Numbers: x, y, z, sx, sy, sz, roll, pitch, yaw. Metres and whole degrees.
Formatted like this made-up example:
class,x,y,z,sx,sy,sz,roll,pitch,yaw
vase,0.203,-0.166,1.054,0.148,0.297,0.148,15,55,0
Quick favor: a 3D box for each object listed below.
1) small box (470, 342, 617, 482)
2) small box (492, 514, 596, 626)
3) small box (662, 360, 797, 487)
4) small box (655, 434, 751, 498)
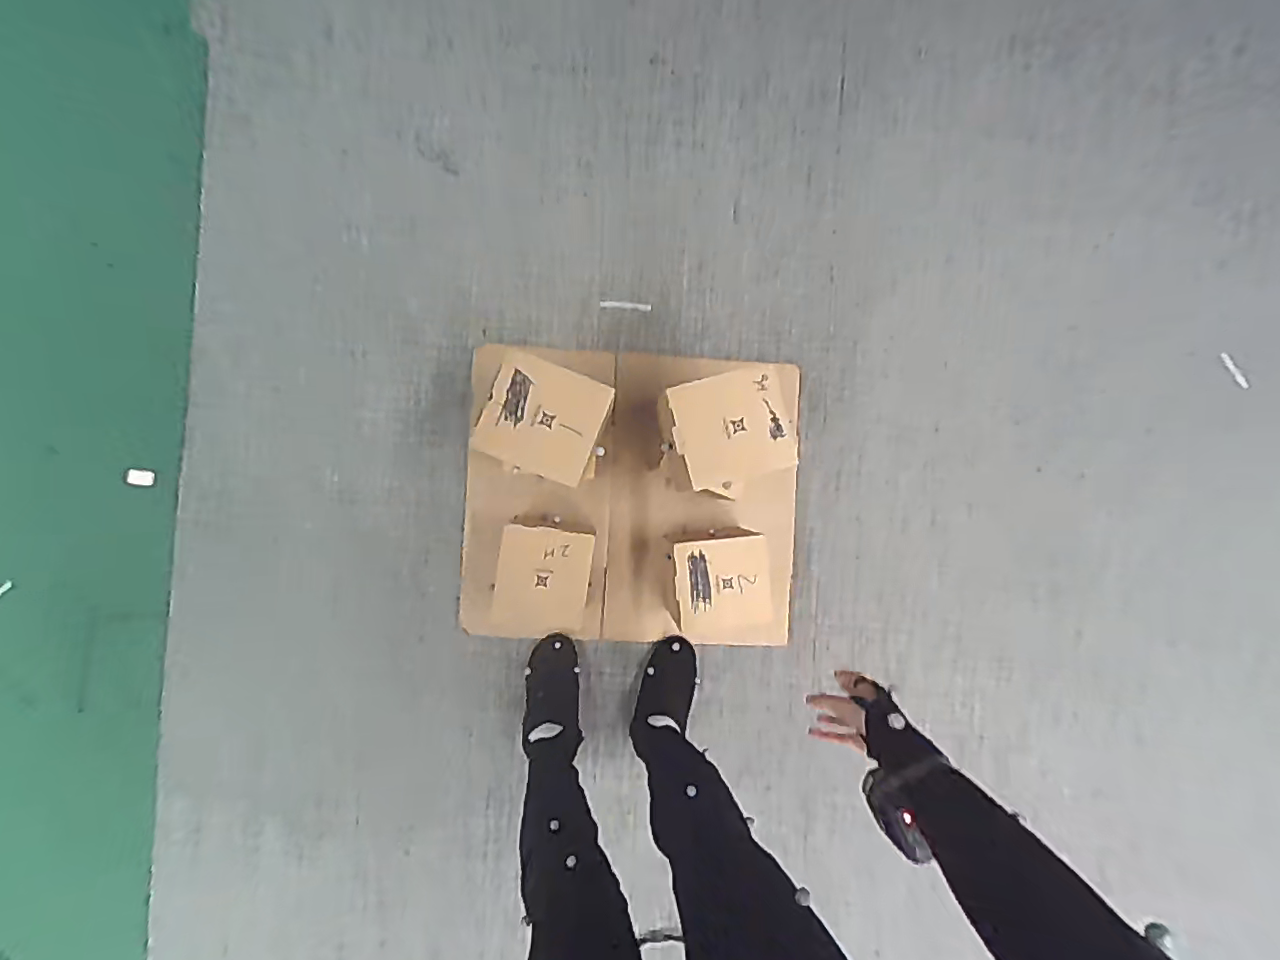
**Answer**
class,x,y,z,sx,sy,sz,roll,pitch,yaw
small box,-0.150,-0.099,0.891,0.179,0.176,0.168,22,87,-4
small box,-0.177,0.166,1.048,0.168,0.176,0.179,9,88,-4
small box,0.137,-0.086,0.909,0.179,0.176,0.168,-14,90,-3
small box,0.136,-0.073,1.072,0.168,0.176,0.179,22,87,-3
